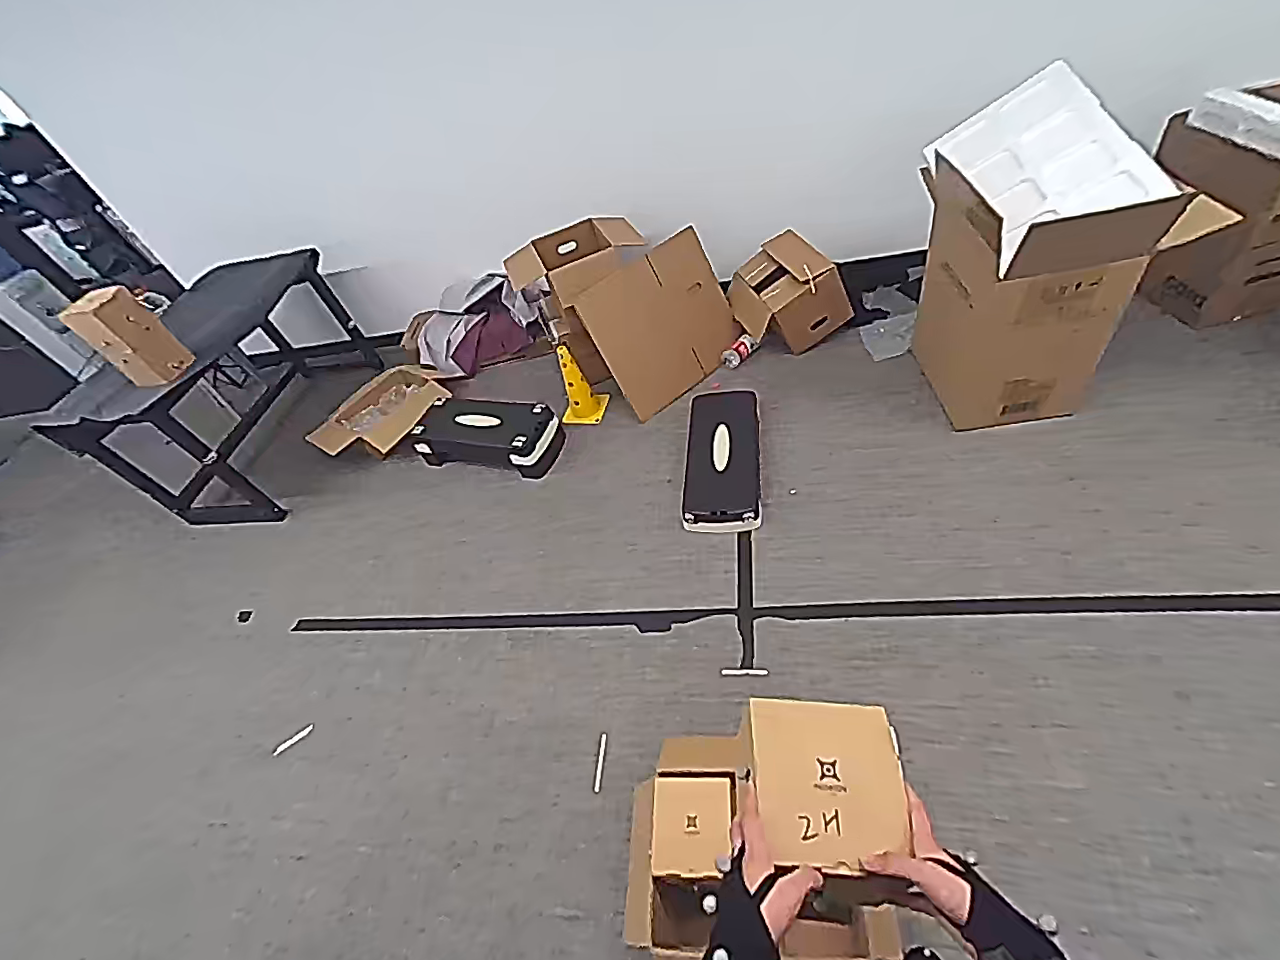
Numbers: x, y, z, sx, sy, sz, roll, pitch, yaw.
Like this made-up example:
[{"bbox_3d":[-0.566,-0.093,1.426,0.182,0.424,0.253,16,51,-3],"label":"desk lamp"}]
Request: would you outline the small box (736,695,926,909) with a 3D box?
[{"bbox_3d":[0.208,0.386,0.651,0.168,0.176,0.179,3,45,4],"label":"small box"}]
